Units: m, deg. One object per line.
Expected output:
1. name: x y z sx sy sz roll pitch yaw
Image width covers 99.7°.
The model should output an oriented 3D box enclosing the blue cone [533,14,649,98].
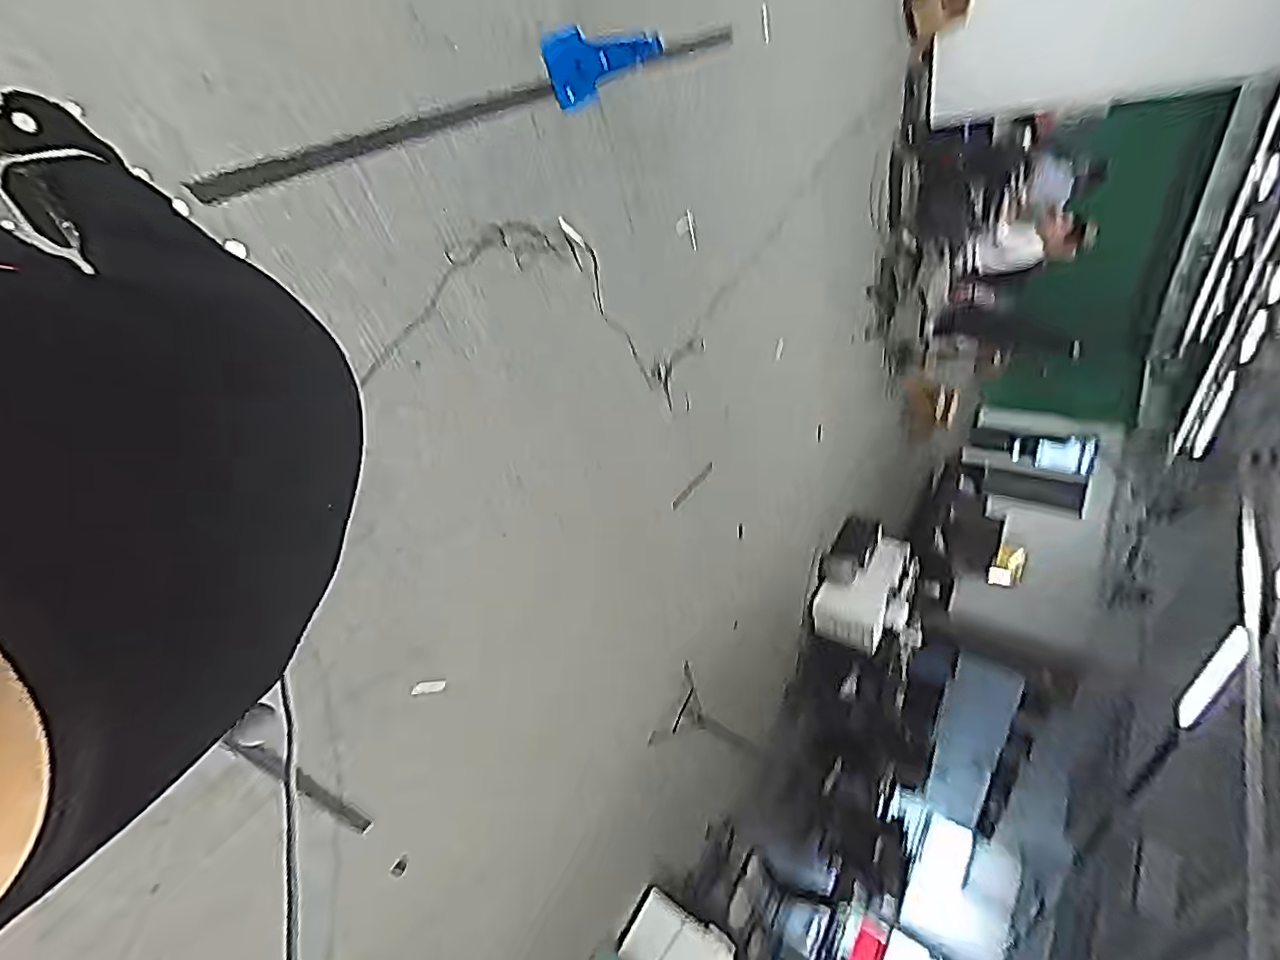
1. blue cone: -0.125 -1.324 1.642 0.193 0.380 0.192 -50 137 -31
